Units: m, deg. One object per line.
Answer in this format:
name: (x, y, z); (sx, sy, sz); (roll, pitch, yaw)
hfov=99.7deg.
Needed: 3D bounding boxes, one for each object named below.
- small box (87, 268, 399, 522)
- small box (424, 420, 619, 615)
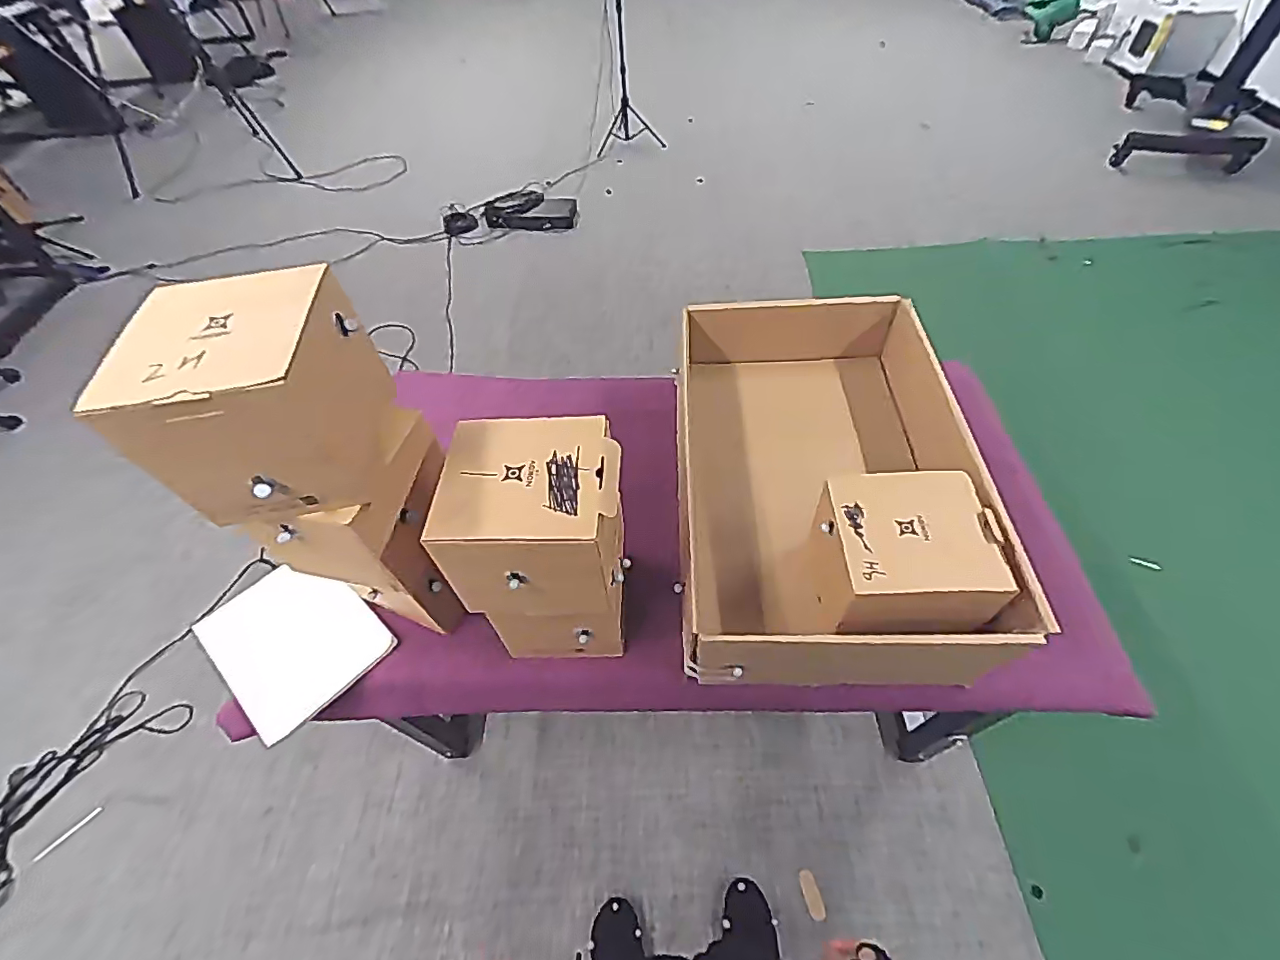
small box: (-0.362, -0.082, 0.541); (0.168, 0.176, 0.179); (-9, 53, -2)
small box: (-0.119, 0.047, 0.632); (0.179, 0.176, 0.168); (-1, 51, 3)
